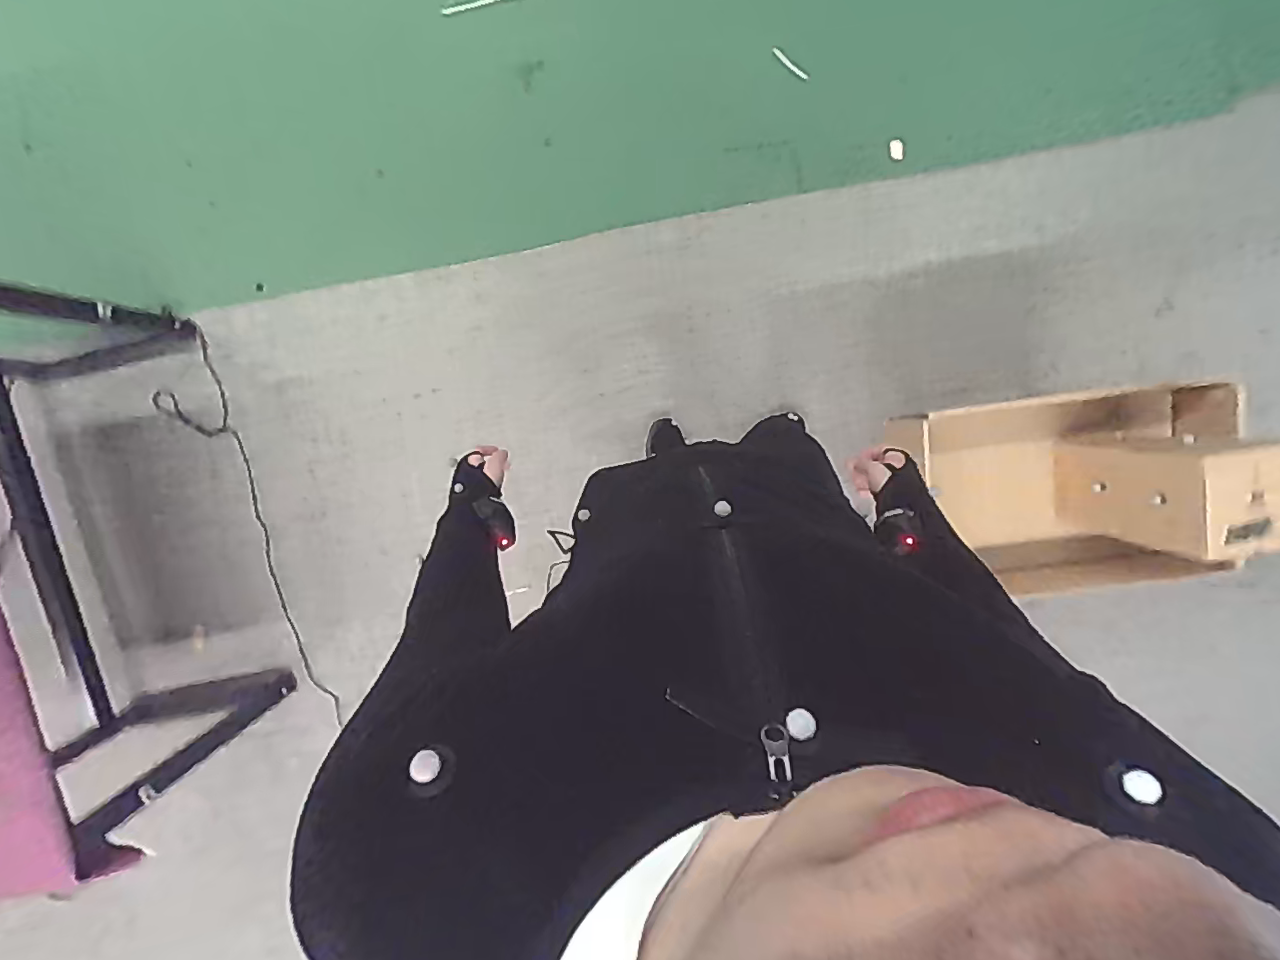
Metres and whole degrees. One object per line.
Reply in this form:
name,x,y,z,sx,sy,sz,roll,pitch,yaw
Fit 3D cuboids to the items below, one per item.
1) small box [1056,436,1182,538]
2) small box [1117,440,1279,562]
small box,0.997,0.009,1.112,0.168,0.176,0.179,-7,97,2
small box,0.990,0.030,0.949,0.168,0.176,0.179,-8,96,2
